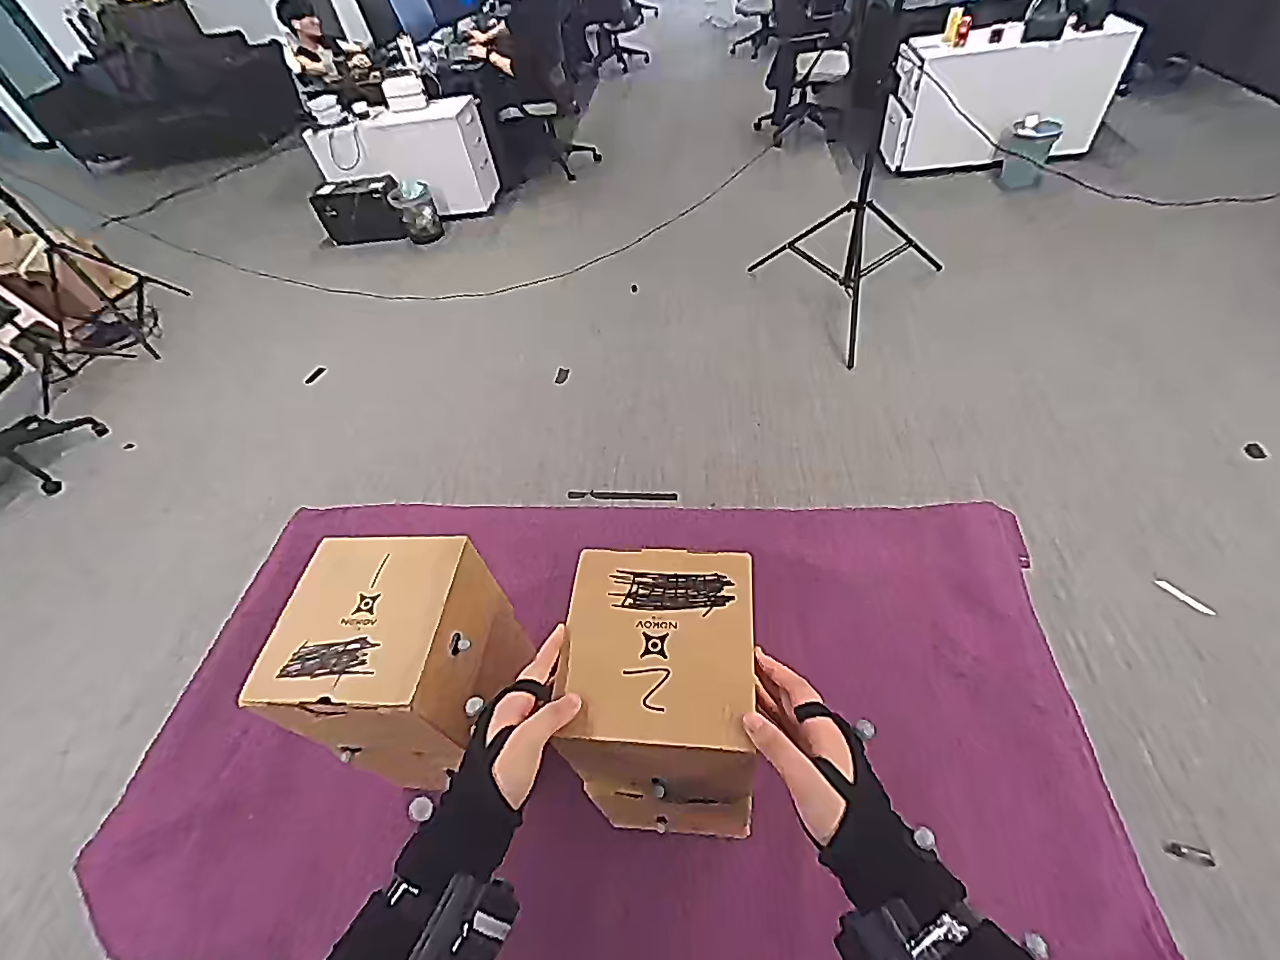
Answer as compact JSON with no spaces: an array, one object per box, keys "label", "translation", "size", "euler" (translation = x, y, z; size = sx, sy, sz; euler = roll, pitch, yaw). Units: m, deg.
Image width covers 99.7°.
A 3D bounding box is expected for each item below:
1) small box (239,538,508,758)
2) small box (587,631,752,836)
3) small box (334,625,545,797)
[{"label":"small box","translation":[-0.254,0.180,0.572],"size":[0.168,0.176,0.179],"euler":[-2,49,8]},{"label":"small box","translation":[0.043,0.299,0.640],"size":[0.168,0.176,0.179],"euler":[-1,49,9]},{"label":"small box","translation":[-0.234,0.293,0.690],"size":[0.179,0.176,0.168],"euler":[-1,49,9]}]
